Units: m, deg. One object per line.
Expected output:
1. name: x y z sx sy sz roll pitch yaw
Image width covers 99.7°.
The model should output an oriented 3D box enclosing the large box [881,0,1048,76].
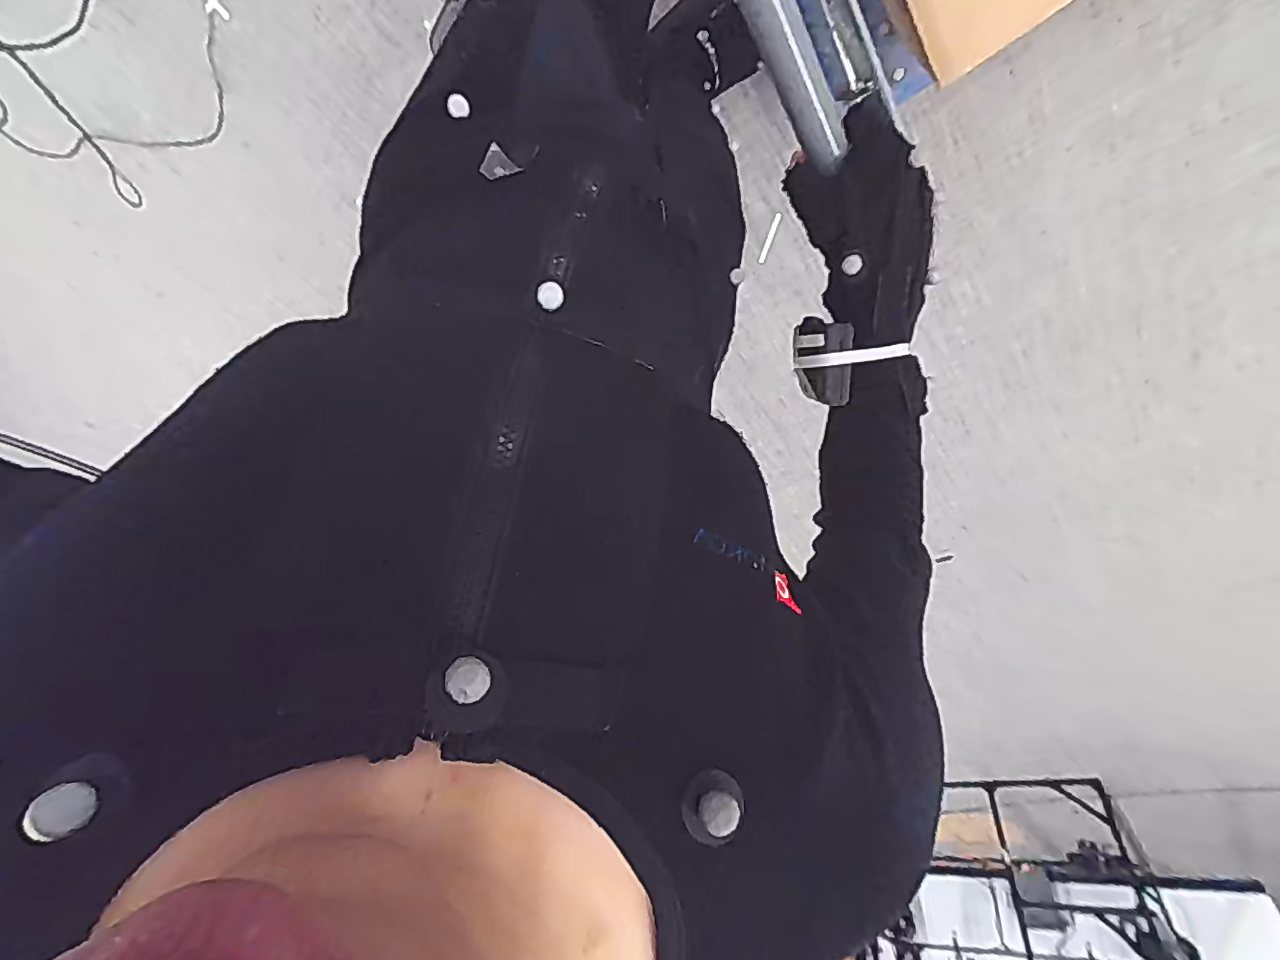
1. large box: 0.367 -0.763 0.571 0.320 0.320 0.408 -24 128 34
